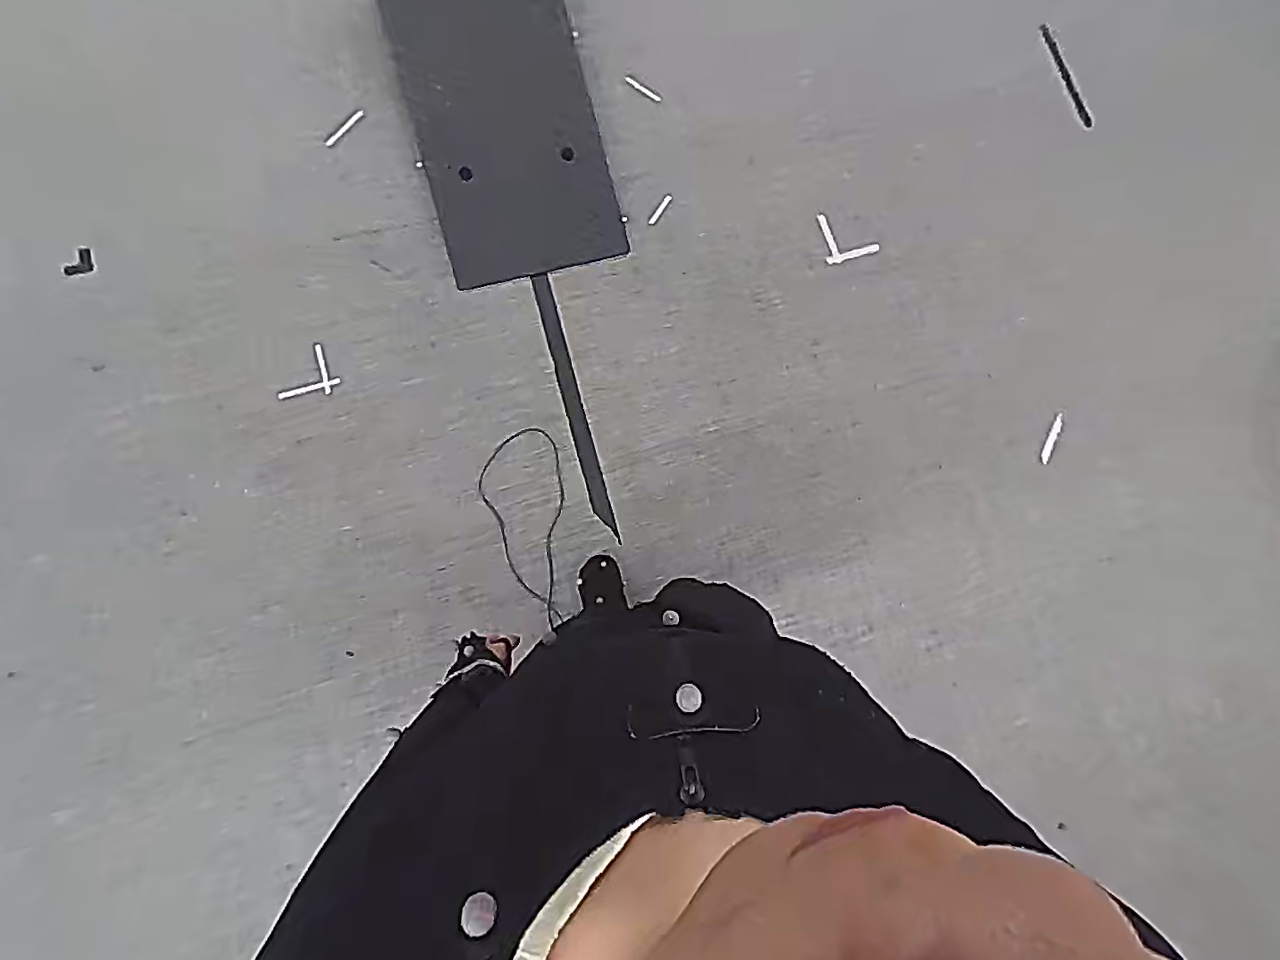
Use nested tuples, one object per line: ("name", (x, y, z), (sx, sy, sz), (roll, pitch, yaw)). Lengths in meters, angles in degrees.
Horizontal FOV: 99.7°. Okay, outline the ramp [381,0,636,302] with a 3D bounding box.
("ramp", (-0.370, -1.030, 1.496), (0.509, 0.206, 0.991), (-18, 83, -9))
